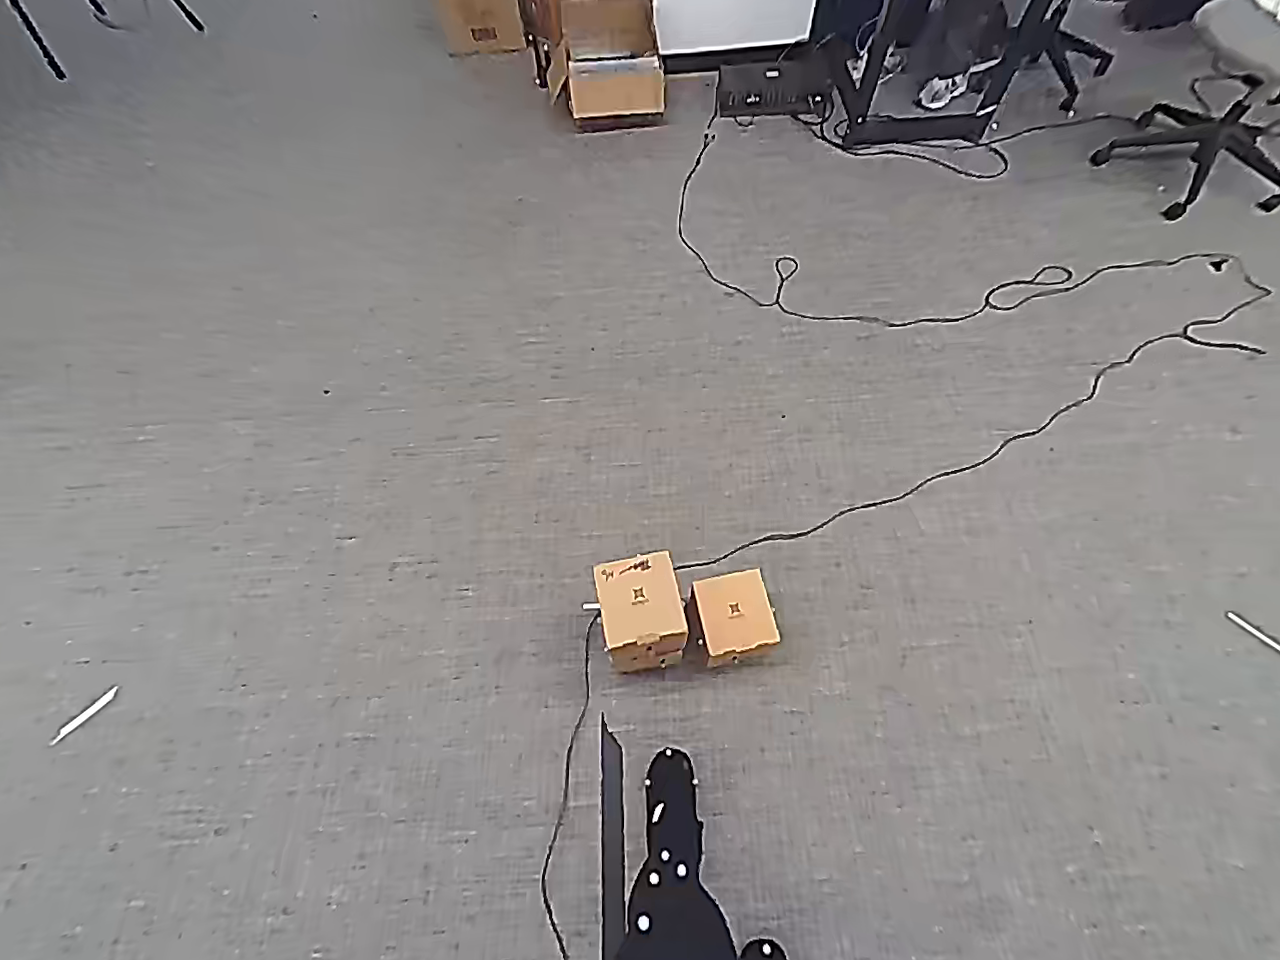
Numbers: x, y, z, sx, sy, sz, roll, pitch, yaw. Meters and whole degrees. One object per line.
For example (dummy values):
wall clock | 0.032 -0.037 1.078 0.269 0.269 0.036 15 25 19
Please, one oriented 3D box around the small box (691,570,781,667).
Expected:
small box | 0.224 0.340 1.315 0.168 0.176 0.179 -11 63 -3

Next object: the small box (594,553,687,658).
small box | 0.002 0.279 1.171 0.168 0.176 0.179 -11 64 -4

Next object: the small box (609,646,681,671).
small box | 0.008 0.360 1.315 0.168 0.176 0.179 -8 62 -2
